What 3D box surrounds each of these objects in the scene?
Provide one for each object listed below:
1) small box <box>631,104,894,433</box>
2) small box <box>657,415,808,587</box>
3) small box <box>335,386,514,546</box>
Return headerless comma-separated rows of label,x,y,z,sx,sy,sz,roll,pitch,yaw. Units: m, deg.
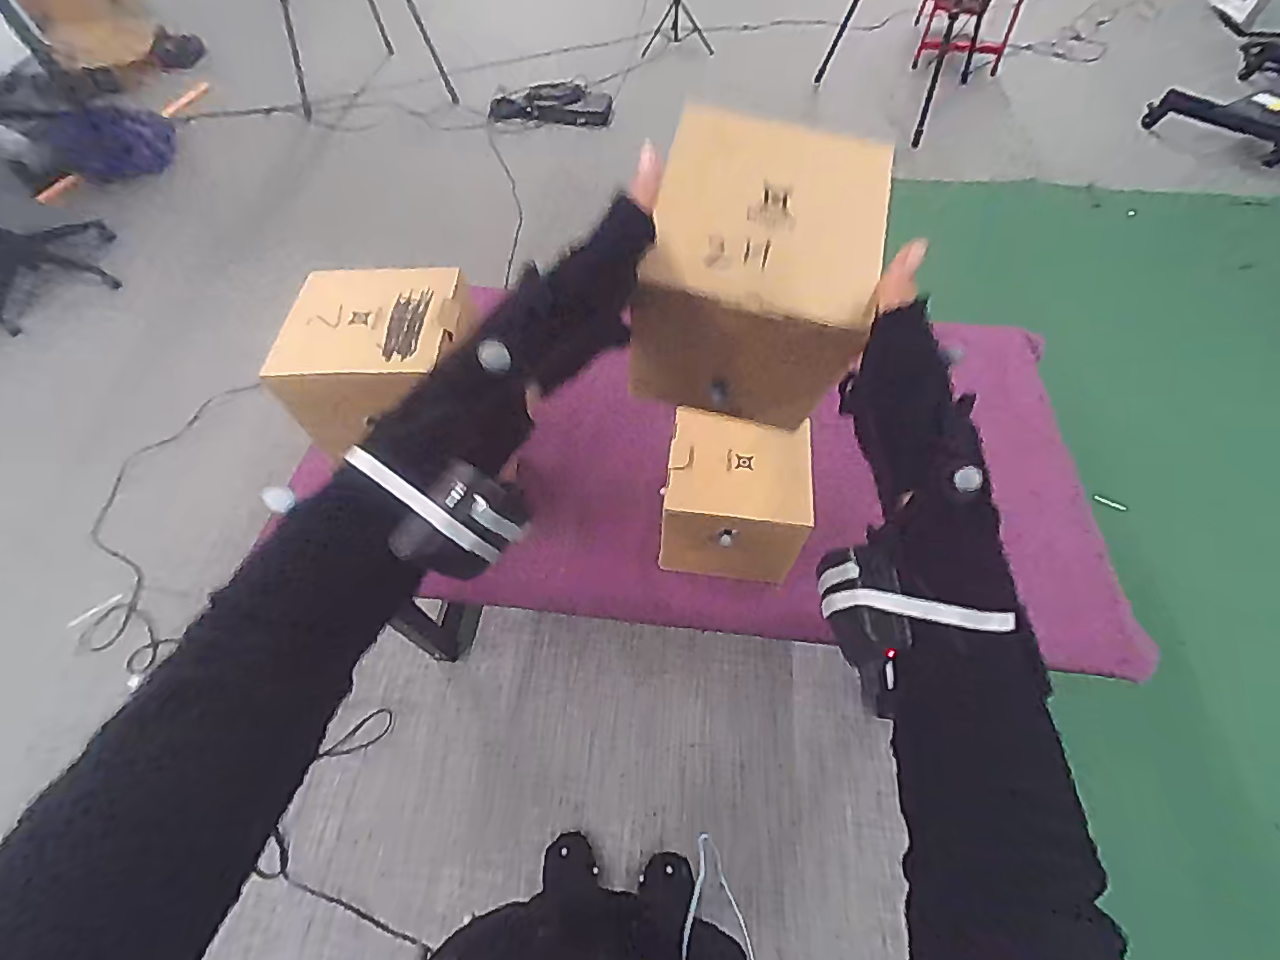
small box,0.090,-0.165,0.463,0.168,0.176,0.179,14,72,1
small box,0.122,0.034,0.743,0.179,0.176,0.168,7,57,5
small box,-0.286,-0.015,0.768,0.179,0.176,0.168,1,57,0
